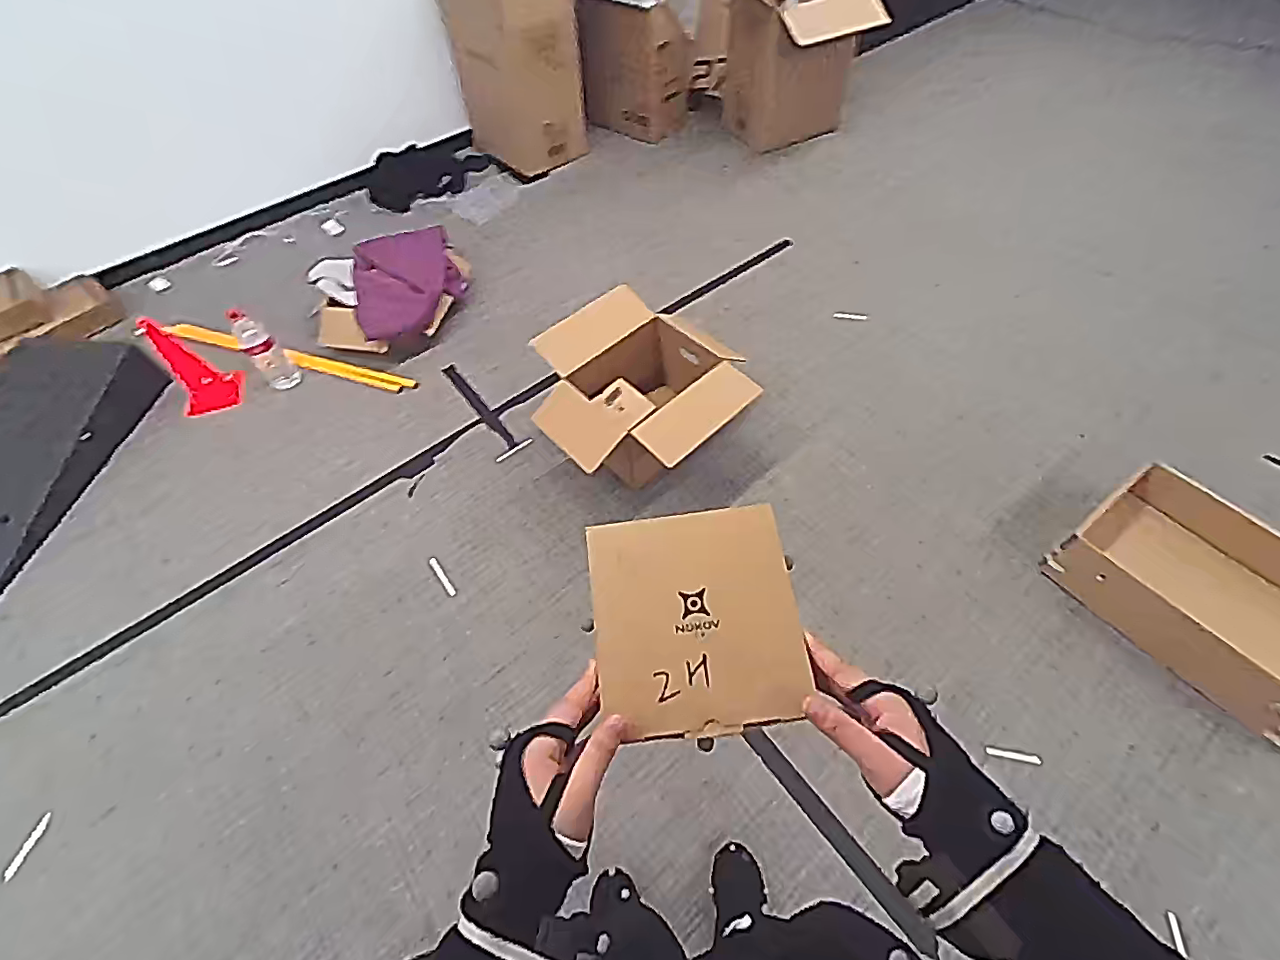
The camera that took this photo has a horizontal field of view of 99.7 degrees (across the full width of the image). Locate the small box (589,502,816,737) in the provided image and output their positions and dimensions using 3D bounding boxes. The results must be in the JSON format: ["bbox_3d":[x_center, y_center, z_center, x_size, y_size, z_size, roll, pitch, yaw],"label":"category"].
[{"bbox_3d":[0.047,0.140,0.512,0.168,0.176,0.179,-7,65,0],"label":"small box"}]
